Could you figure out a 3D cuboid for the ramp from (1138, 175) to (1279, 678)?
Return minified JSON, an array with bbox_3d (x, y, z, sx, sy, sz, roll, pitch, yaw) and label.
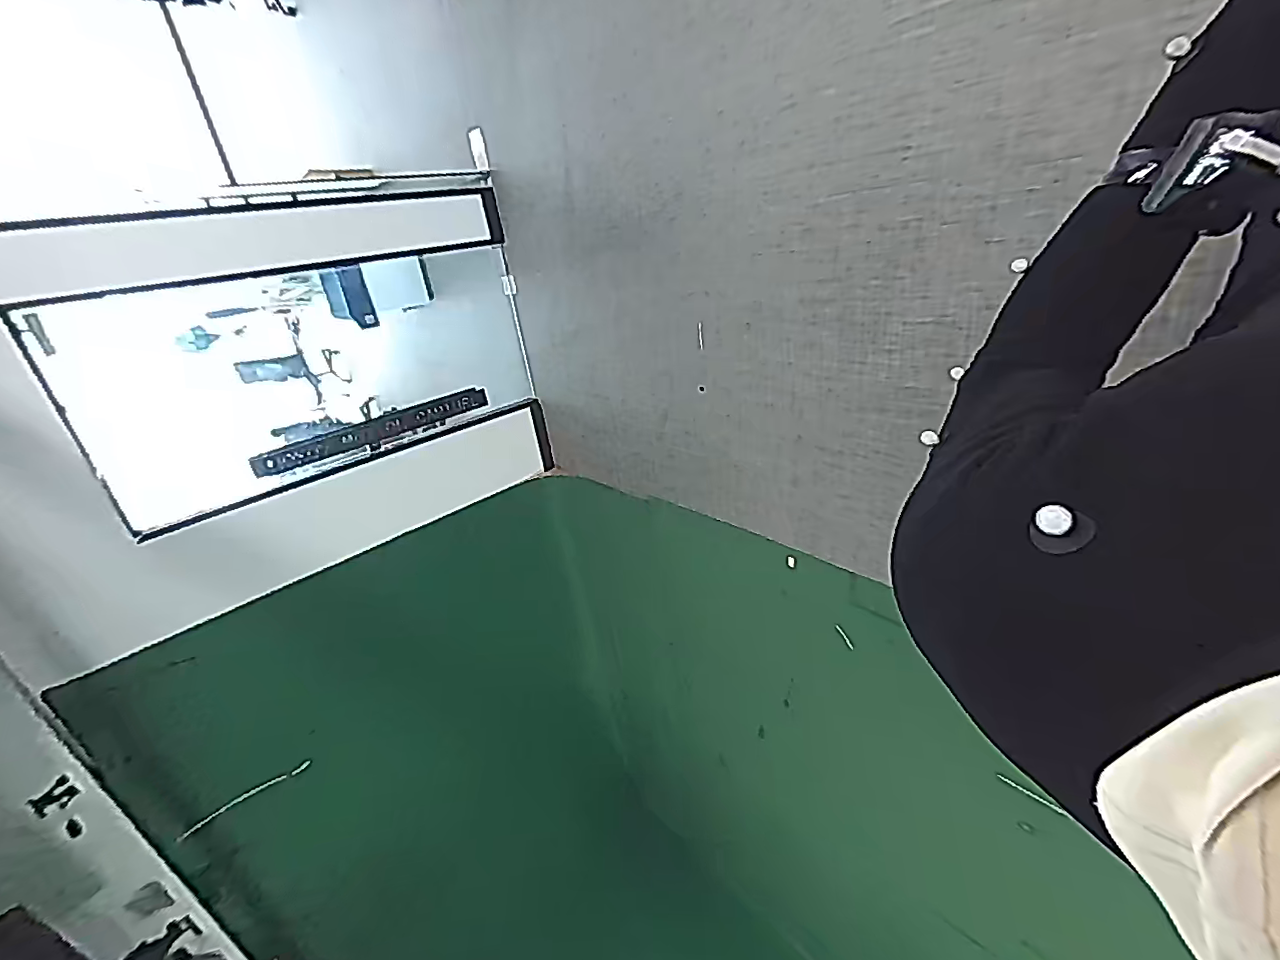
[{"bbox_3d":[1.358,-0.058,0.989,0.509,0.206,0.991,17,124,48],"label":"ramp"}]
